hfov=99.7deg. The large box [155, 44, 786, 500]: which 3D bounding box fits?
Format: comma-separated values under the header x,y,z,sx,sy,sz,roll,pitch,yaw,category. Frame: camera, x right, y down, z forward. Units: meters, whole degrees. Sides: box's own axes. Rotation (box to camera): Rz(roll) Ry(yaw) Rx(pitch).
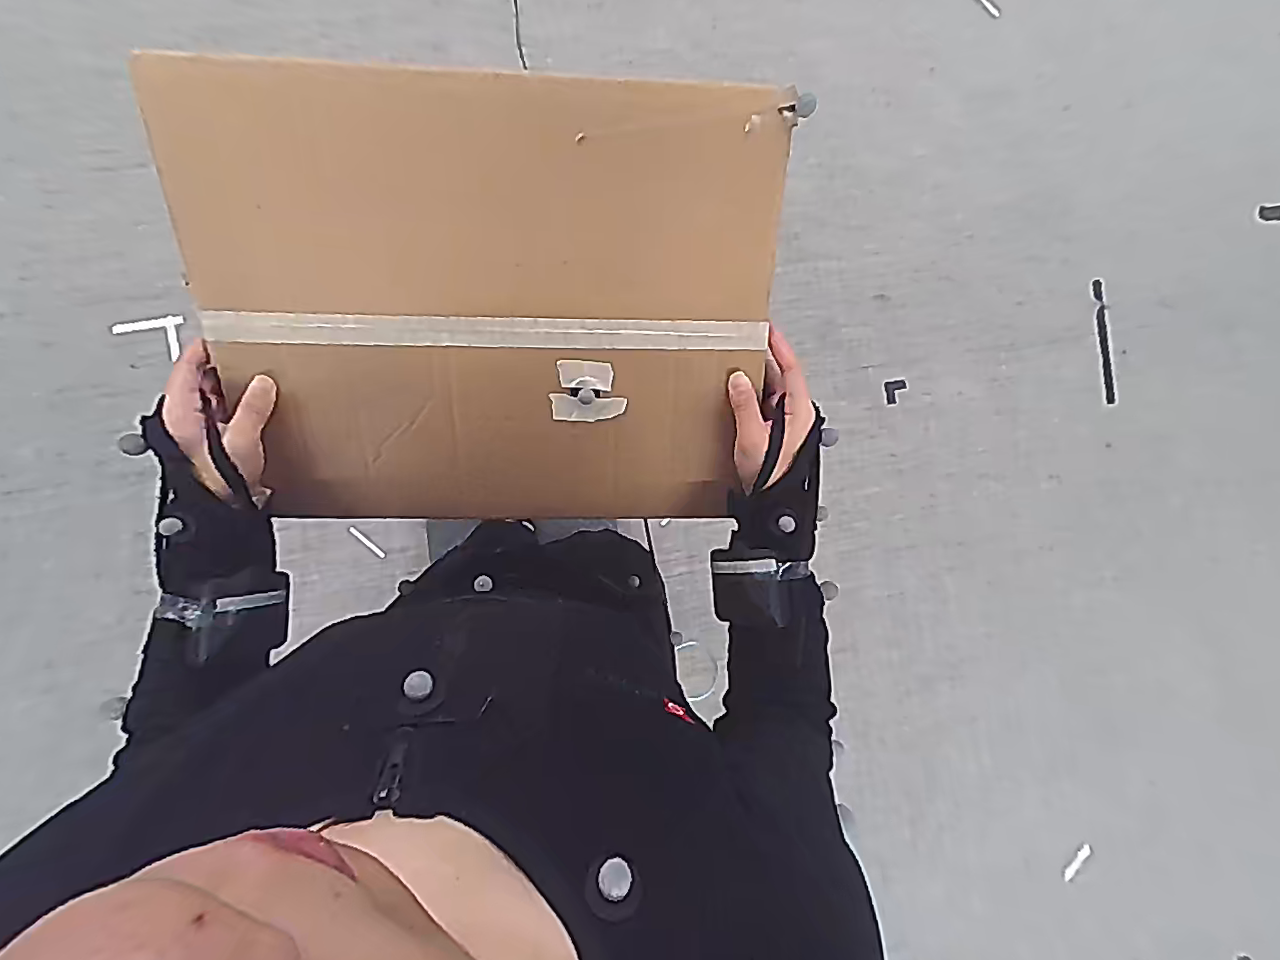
x,y,z,sx,sy,sz,roll,pitch,yaw,category
-0.115,-0.186,0.537,0.408,0.320,0.320,0,115,-4,large box
